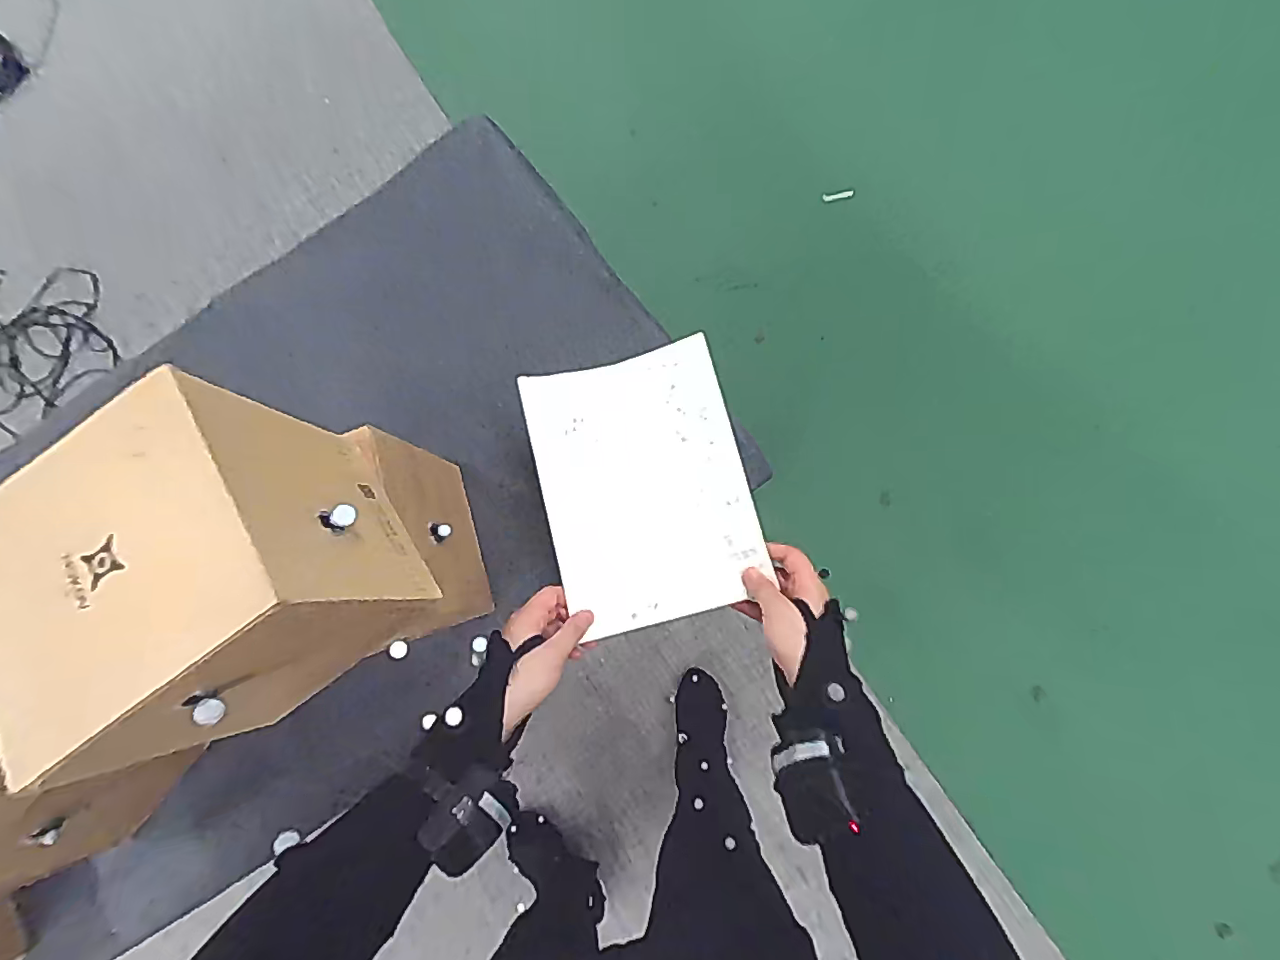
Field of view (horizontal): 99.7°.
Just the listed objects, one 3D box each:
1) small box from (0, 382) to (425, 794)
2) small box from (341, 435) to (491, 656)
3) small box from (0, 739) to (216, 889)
[{"bbox_3d":[-0.282,0.067,0.380,0.179,0.176,0.168,-37,76,2],"label":"small box"},{"bbox_3d":[-0.274,0.079,0.544,0.168,0.176,0.179,-20,77,5],"label":"small box"},{"bbox_3d":[-0.590,0.276,0.556,0.168,0.176,0.179,38,87,12],"label":"small box"}]
